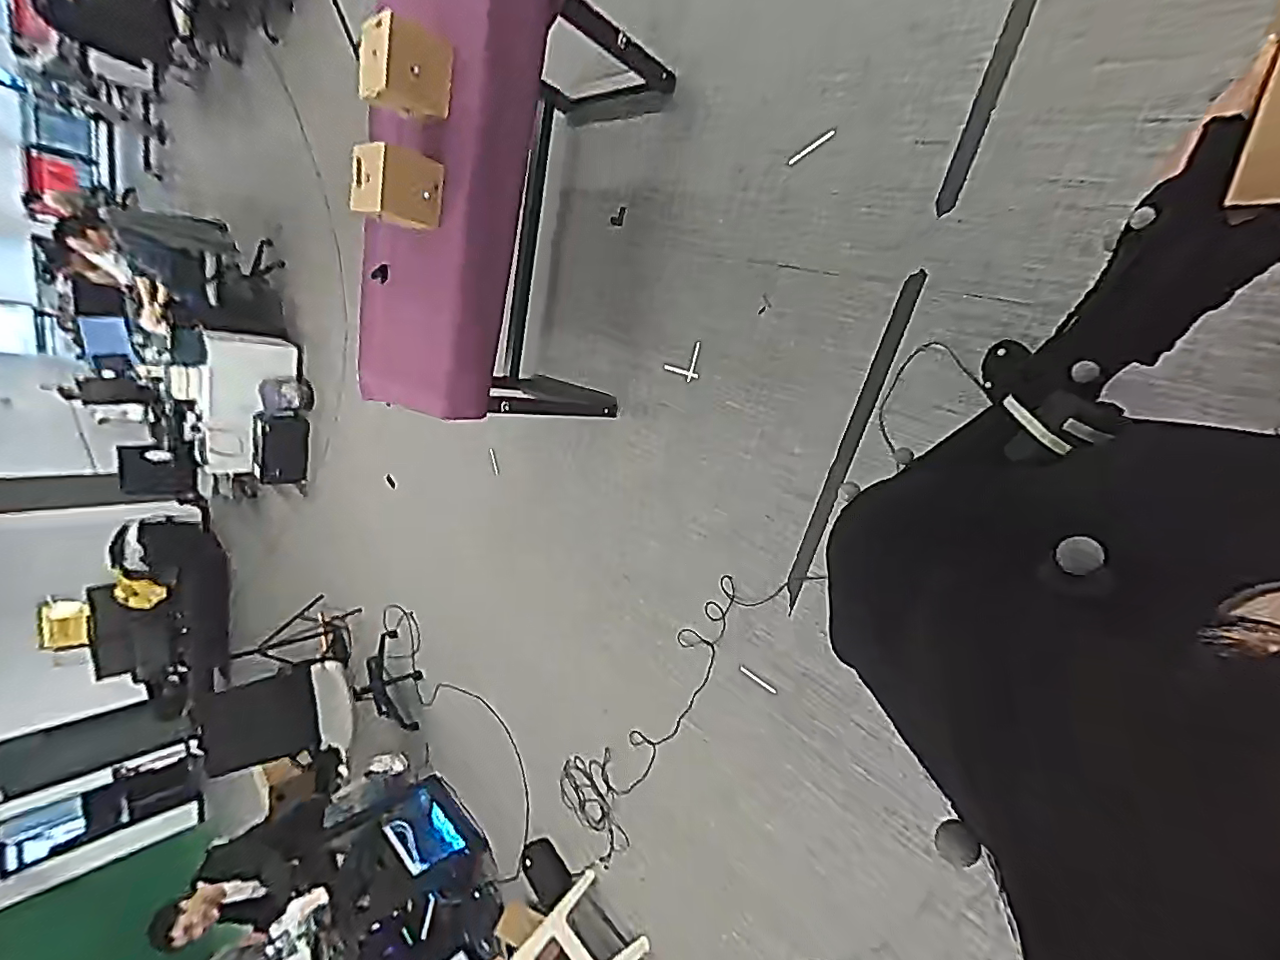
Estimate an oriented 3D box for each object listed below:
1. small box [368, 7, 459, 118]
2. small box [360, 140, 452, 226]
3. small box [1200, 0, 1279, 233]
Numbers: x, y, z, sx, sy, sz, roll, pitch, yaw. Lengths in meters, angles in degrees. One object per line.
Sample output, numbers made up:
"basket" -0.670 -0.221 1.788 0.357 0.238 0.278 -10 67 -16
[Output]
"small box" -0.590 -1.072 1.410 0.168 0.176 0.179 23 109 38
"small box" -0.642 -0.804 1.479 0.179 0.176 0.168 23 109 38
"small box" 0.451 -0.234 0.286 0.179 0.176 0.168 17 111 38
